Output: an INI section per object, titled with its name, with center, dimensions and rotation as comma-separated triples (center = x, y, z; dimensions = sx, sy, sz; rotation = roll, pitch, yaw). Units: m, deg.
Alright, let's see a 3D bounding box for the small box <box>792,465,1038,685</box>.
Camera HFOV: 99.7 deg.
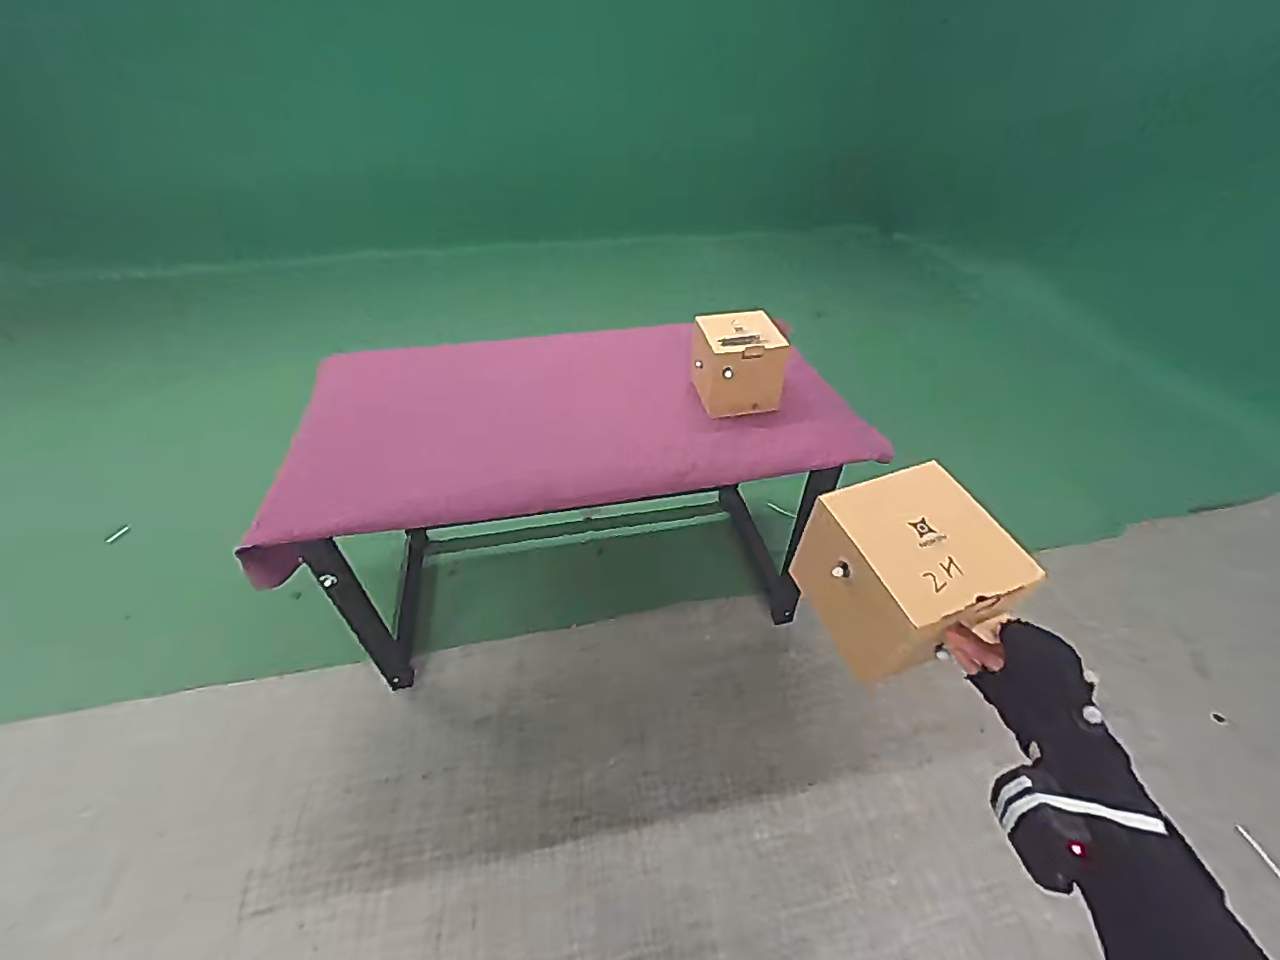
[small box]
center = 0.307, 0.115, 0.652
dimensions = 0.168, 0.176, 0.179
rotation = -16, 52, -12
